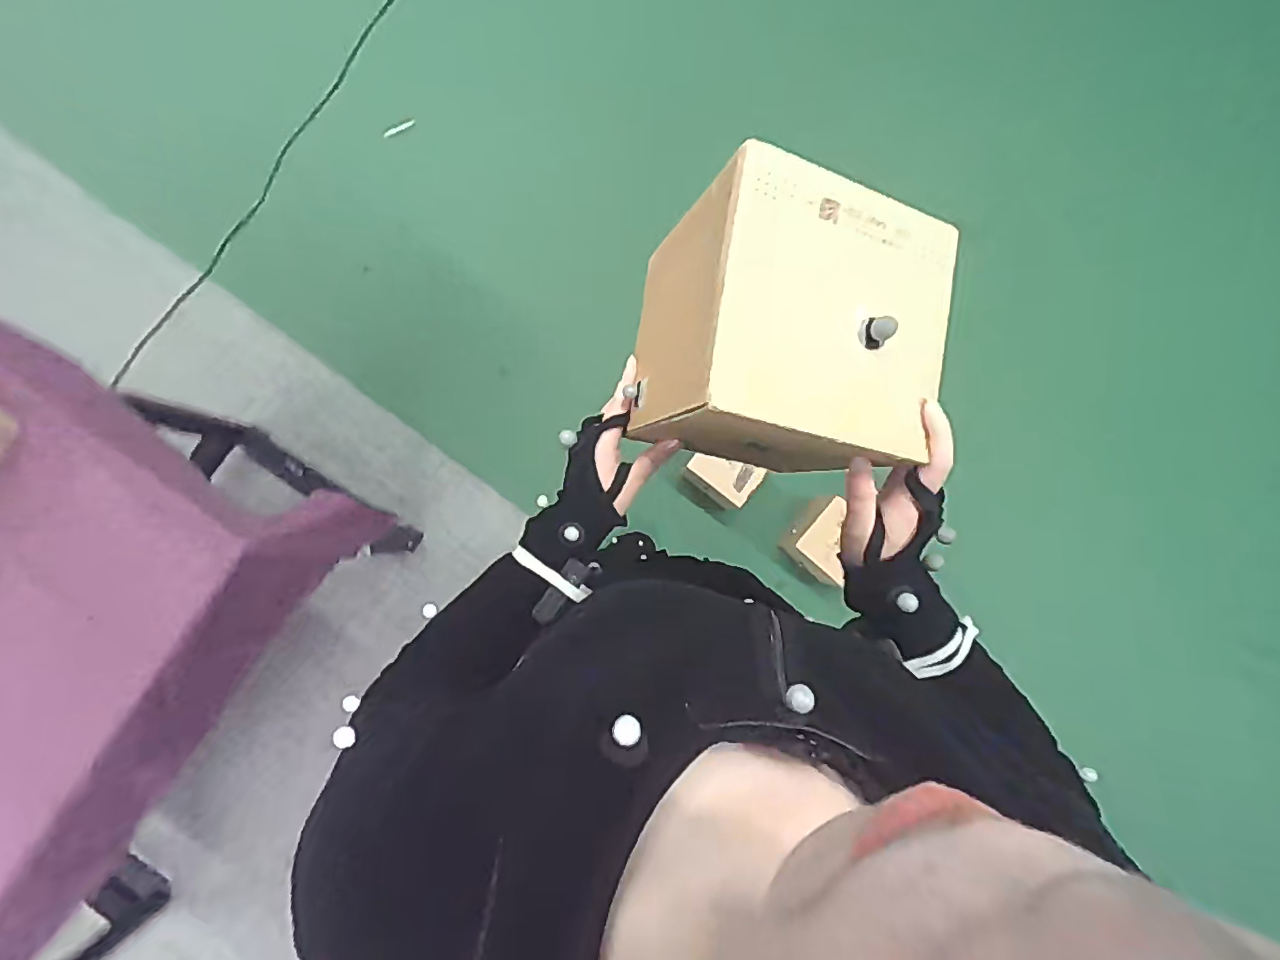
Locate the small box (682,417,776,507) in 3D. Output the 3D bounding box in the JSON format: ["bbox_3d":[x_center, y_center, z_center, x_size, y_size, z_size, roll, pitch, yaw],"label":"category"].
[{"bbox_3d":[0.231,-0.042,1.453,0.179,0.176,0.168,39,85,3],"label":"small box"}]
